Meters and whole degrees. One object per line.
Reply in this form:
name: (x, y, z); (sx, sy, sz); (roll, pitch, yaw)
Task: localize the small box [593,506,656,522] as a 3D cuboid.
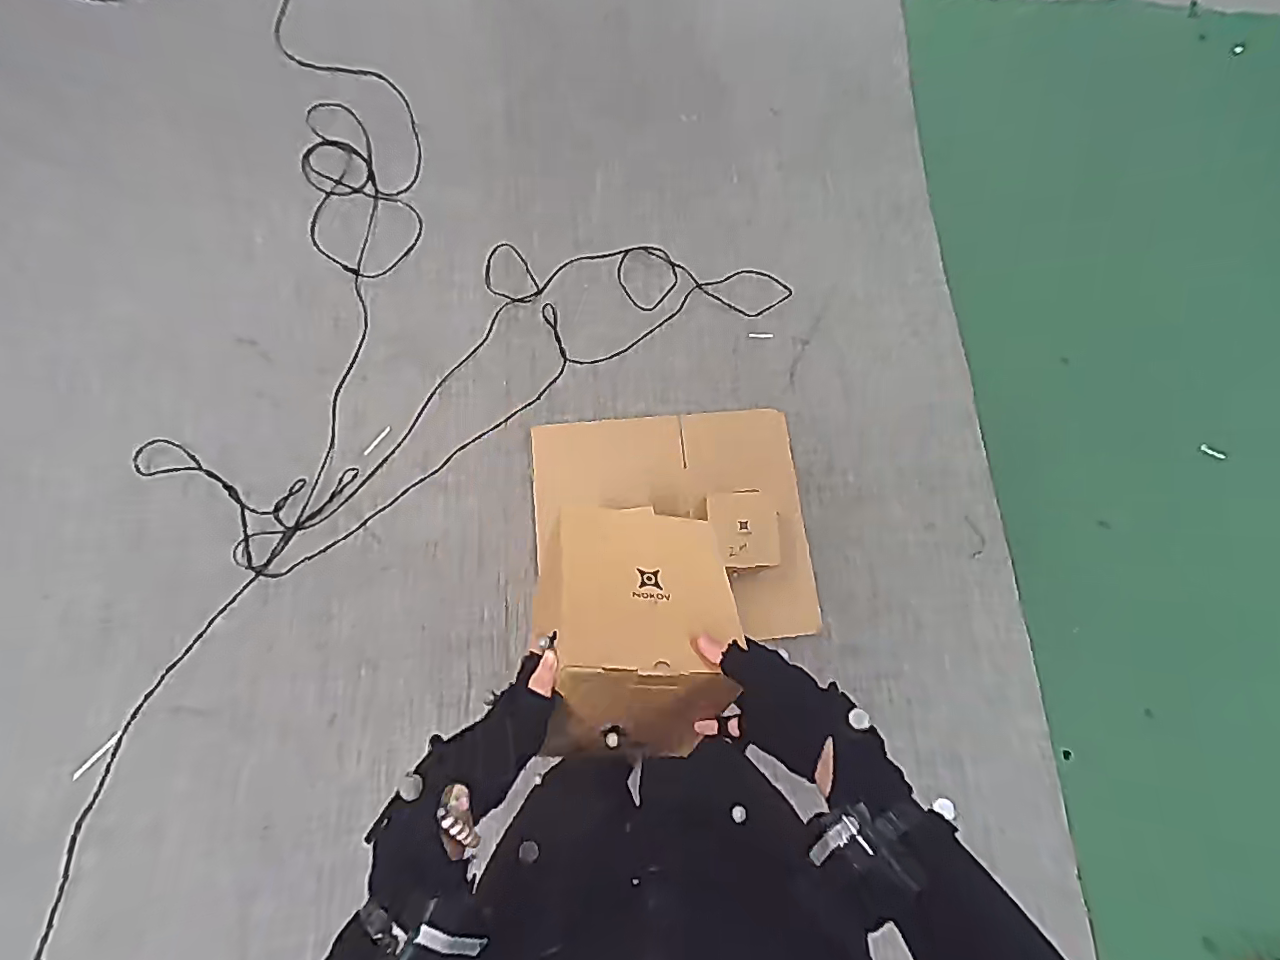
small box: (-0.042, 0.170, 1.289); (0.168, 0.176, 0.179); (-7, 76, -5)

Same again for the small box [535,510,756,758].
small box: (-0.011, 0.157, 0.549); (0.168, 0.176, 0.179); (8, 40, -17)

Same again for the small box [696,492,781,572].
small box: (0.233, 0.132, 1.321); (0.168, 0.176, 0.179); (-1, 77, -3)
